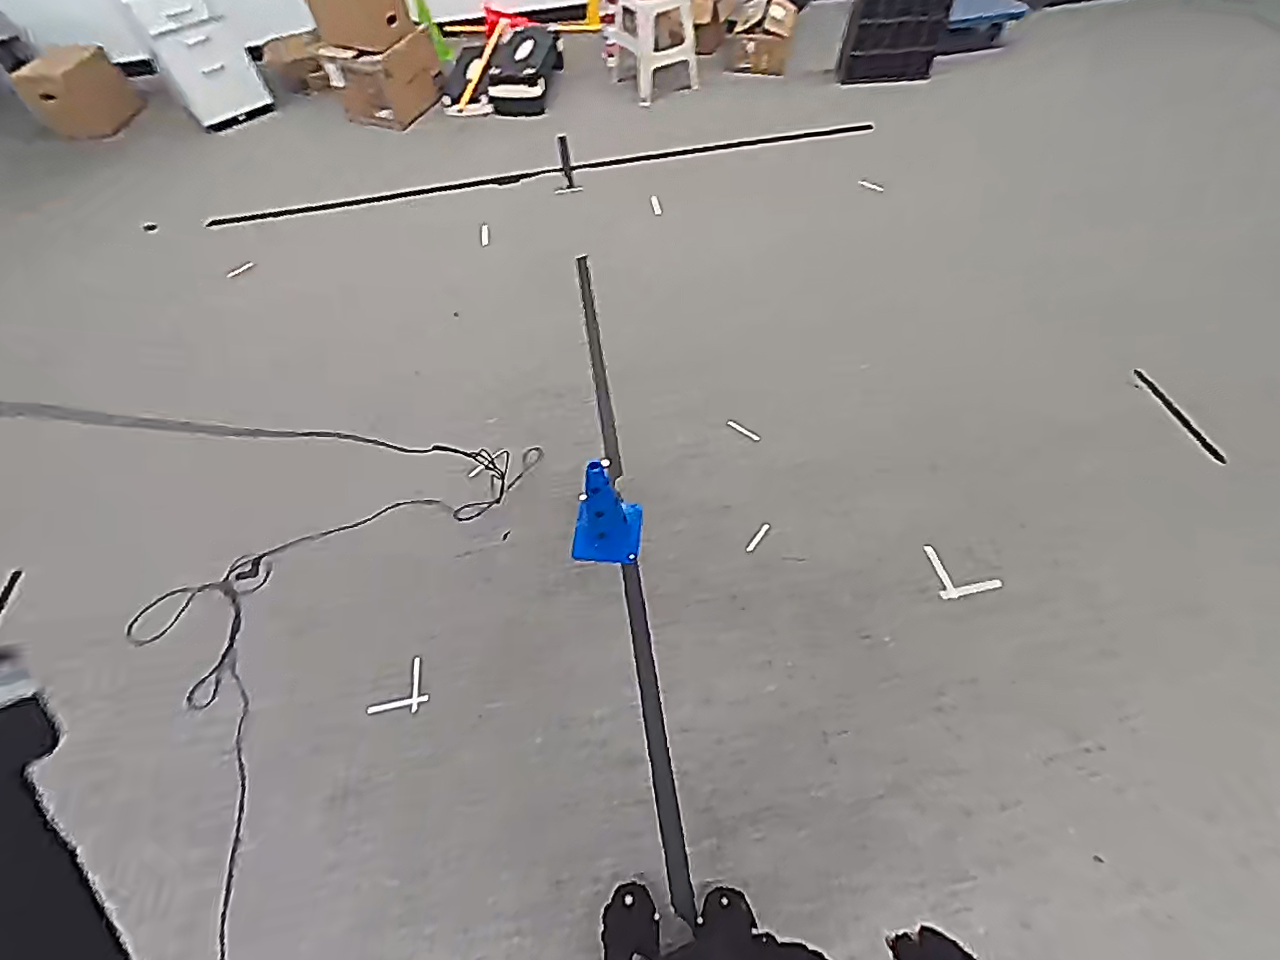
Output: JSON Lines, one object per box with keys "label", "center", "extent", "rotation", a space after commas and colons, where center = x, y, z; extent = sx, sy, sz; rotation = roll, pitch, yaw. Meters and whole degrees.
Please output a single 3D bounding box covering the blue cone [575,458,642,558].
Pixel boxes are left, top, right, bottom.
{"label": "blue cone", "center": [-0.099, 0.059, 1.489], "extent": [0.192, 0.380, 0.193], "rotation": [5, 58, 5]}
